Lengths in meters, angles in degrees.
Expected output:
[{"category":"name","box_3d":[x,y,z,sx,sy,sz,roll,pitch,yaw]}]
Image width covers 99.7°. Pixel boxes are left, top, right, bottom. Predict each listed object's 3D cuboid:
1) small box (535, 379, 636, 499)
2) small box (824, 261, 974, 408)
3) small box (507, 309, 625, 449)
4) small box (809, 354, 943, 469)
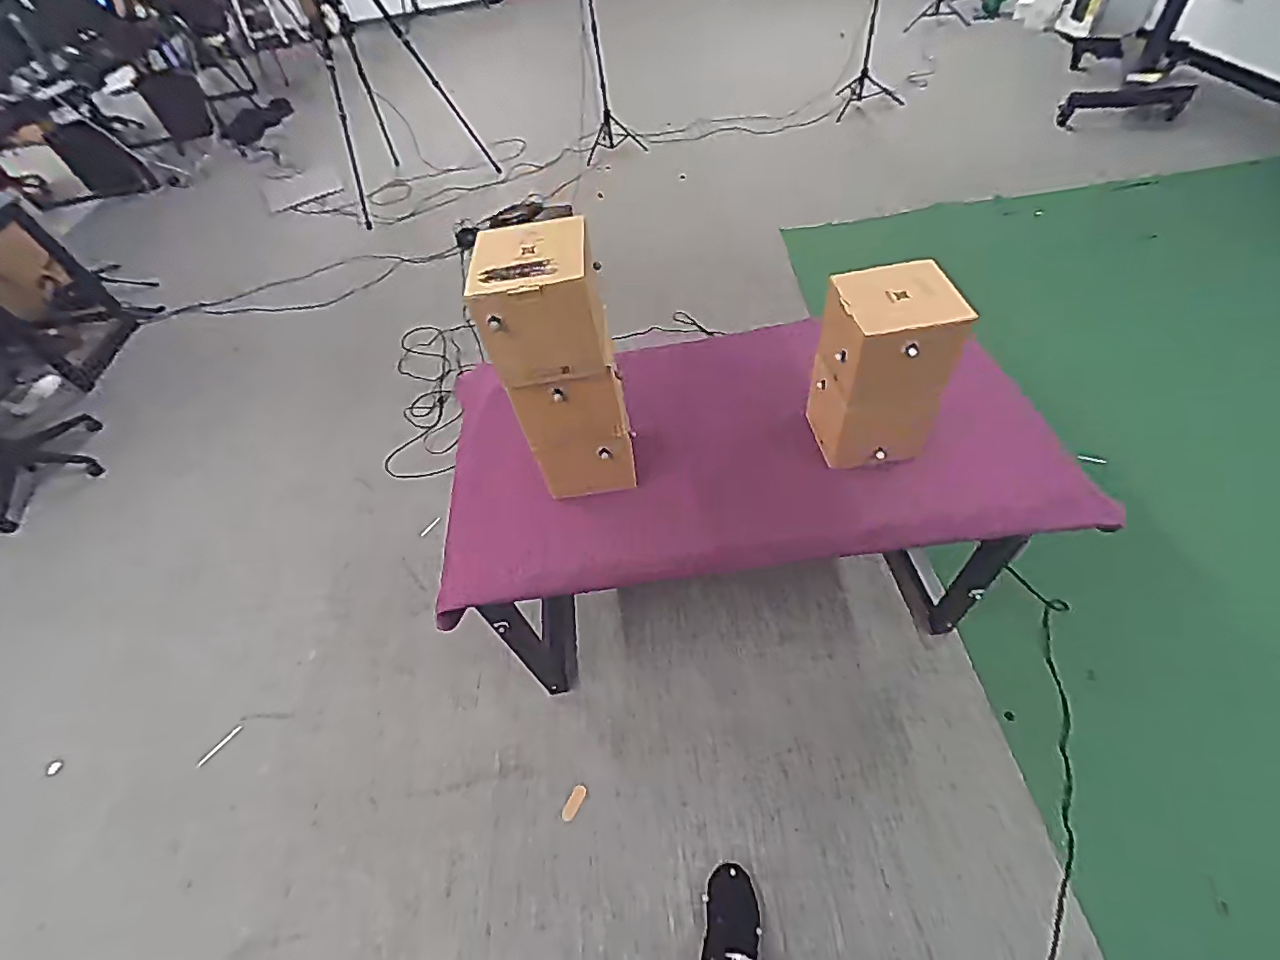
[{"category":"small box","box_3d":[-0.104,-0.081,1.100,0.179,0.176,0.168,-8,52,3]},{"category":"small box","box_3d":[0.424,-0.242,0.927,0.179,0.176,0.168,-9,53,3]},{"category":"small box","box_3d":[-0.124,-0.176,0.971,0.179,0.176,0.168,-9,53,3]},{"category":"small box","box_3d":[0.446,-0.142,1.055,0.179,0.176,0.168,-10,51,2]}]
